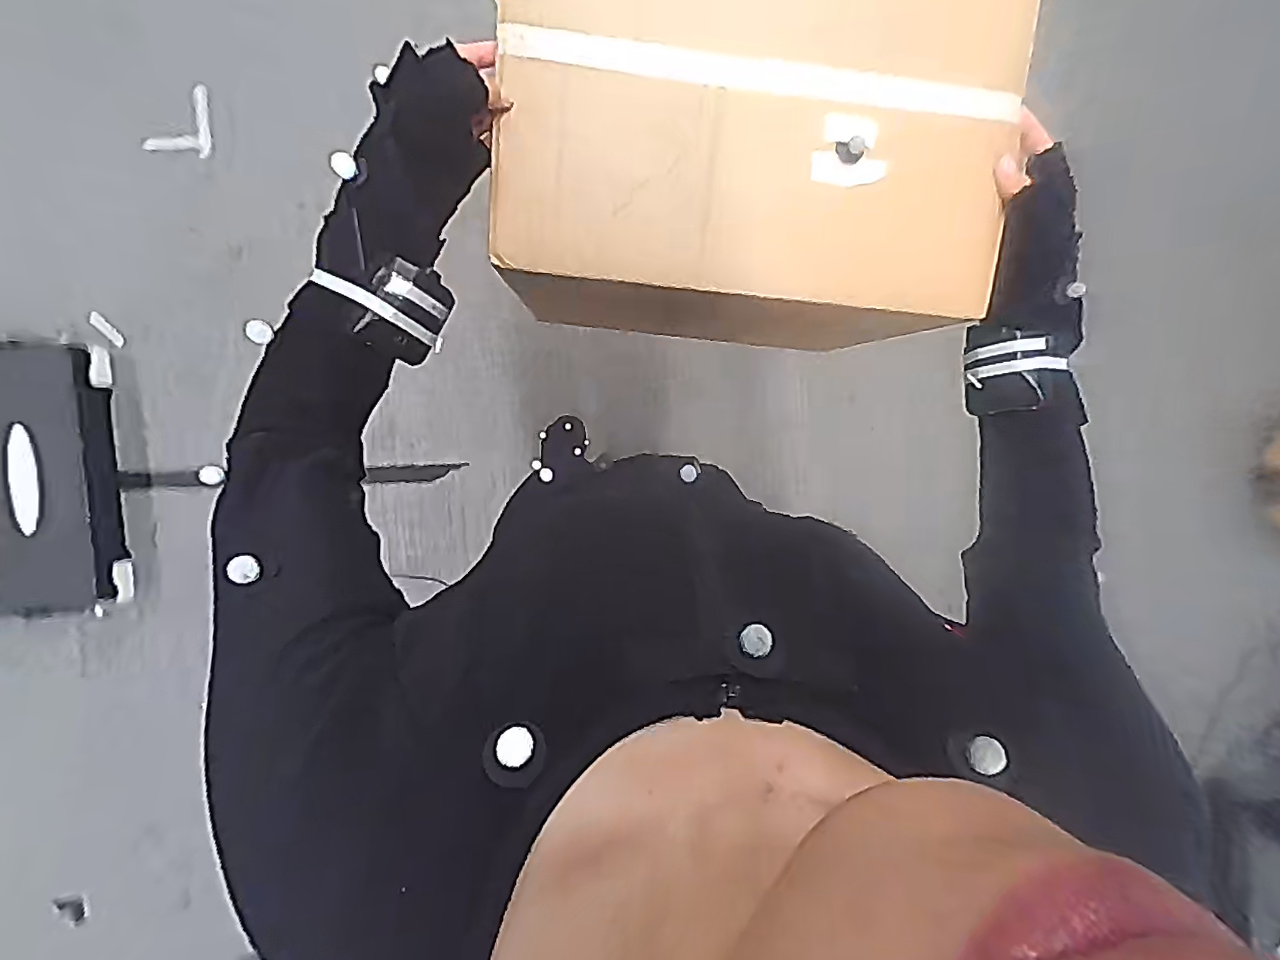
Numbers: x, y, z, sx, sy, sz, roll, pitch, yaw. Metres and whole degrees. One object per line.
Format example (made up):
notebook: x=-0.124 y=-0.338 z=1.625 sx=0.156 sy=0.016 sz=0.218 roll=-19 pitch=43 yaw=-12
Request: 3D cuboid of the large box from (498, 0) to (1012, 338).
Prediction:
large box: x=0.077 y=-0.332 z=0.566 sx=0.408 sy=0.320 sz=0.320 roll=3 pitch=99 yaw=-6

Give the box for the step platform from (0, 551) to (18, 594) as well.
step platform: x=-1.757 y=-0.028 z=1.280 sx=0.286 sy=0.204 sz=0.684 roll=-5 pitch=91 yaw=-4
